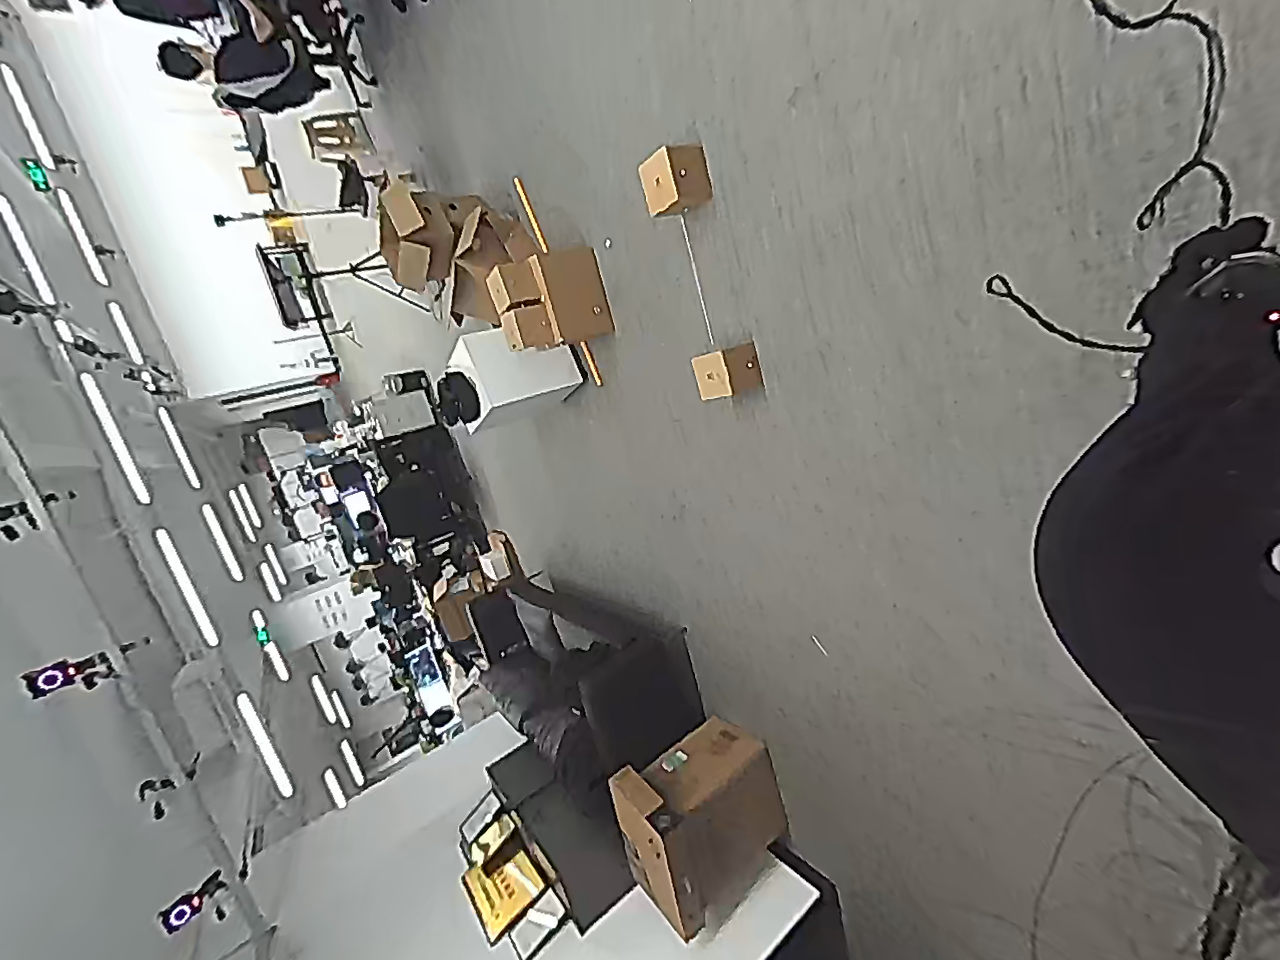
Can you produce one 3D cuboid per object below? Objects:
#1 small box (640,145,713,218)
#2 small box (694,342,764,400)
[{"bbox_3d":[0.130,-1.051,1.907,0.168,0.176,0.179,1,111,57],"label":"small box"},{"bbox_3d":[0.334,-0.409,2.029,0.179,0.176,0.168,1,111,57],"label":"small box"}]
